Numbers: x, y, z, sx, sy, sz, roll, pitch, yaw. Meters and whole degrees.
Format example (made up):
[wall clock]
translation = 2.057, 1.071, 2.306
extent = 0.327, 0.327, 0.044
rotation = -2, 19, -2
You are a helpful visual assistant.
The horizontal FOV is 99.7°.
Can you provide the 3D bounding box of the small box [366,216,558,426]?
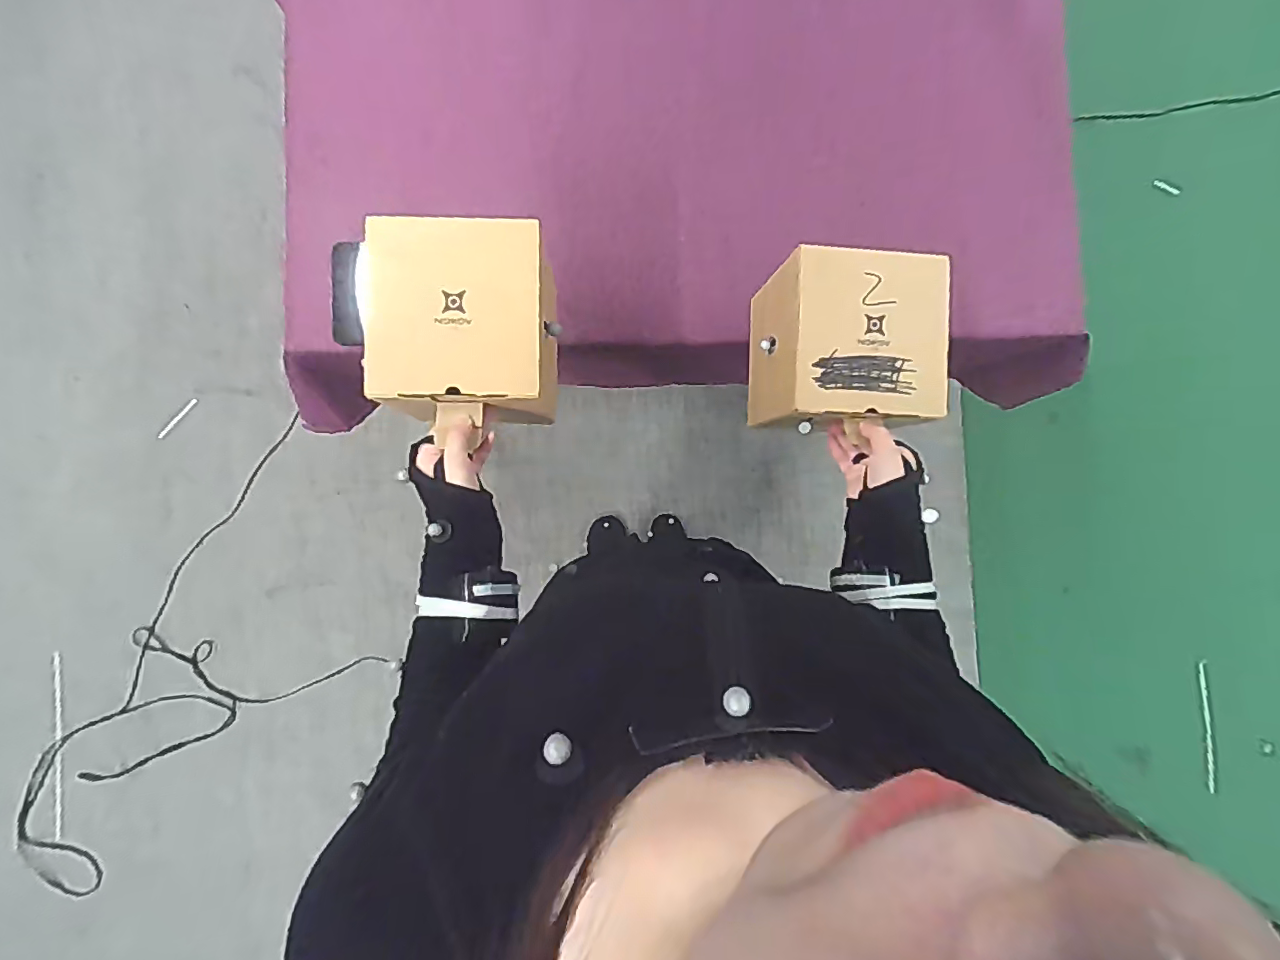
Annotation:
[small box]
translation = -0.181, -0.160, 0.594
extent = 0.168, 0.176, 0.179
rotation = 0, 89, -4
